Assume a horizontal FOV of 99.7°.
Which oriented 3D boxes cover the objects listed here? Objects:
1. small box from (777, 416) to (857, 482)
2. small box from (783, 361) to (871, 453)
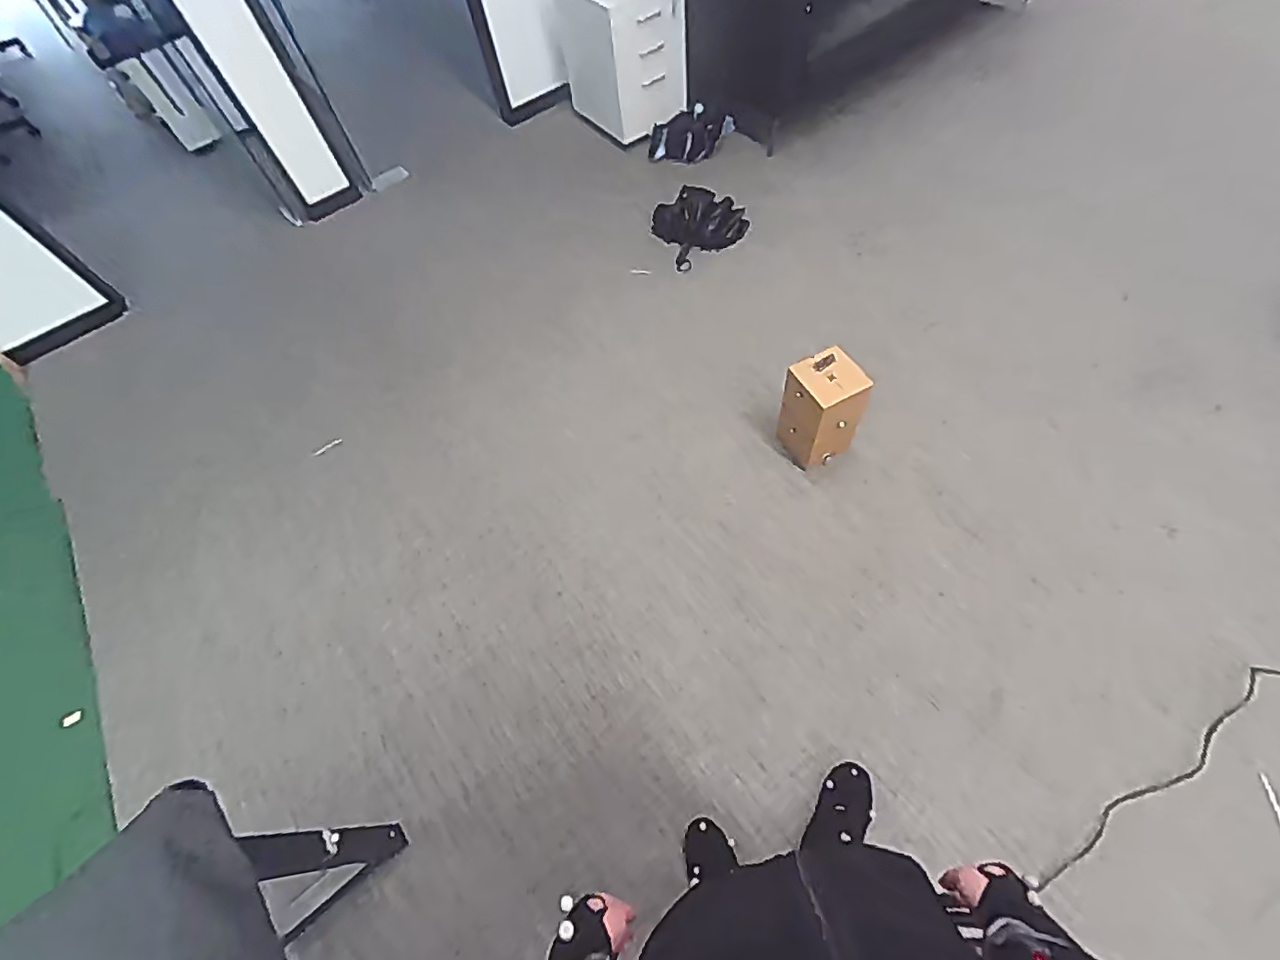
[{"bbox_3d":[0.558,-0.125,1.737,0.168,0.176,0.179,-26,60,-8],"label":"small box"},{"bbox_3d":[0.543,-0.211,1.597,0.168,0.176,0.179,-25,60,-8],"label":"small box"}]
